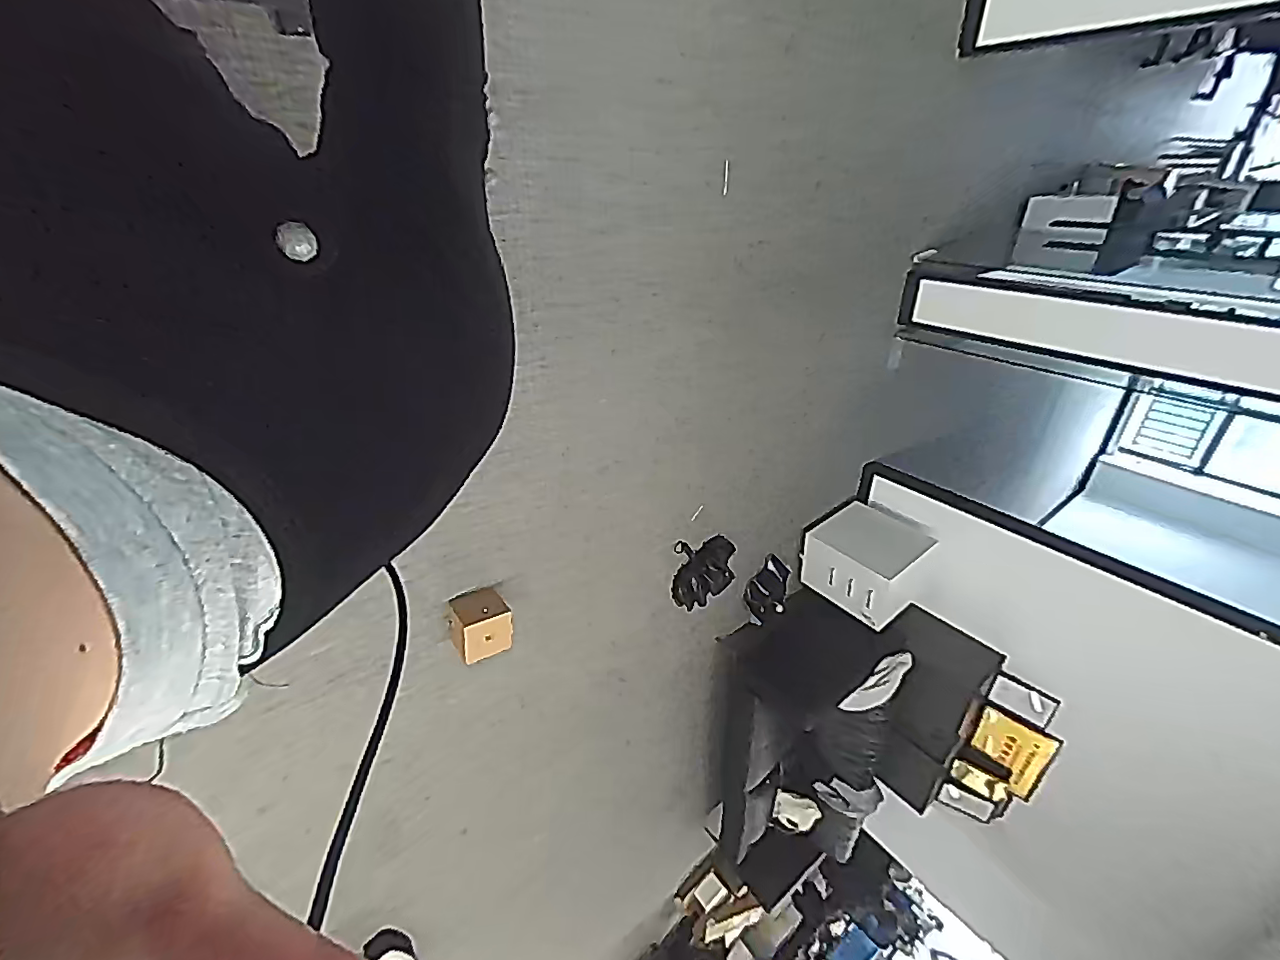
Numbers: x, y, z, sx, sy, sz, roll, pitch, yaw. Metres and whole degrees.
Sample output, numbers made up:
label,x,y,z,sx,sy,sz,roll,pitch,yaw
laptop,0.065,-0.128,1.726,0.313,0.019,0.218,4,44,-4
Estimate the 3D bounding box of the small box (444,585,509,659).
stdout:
label,x,y,z,sx,sy,sz,roll,pitch,yaw
small box,-0.588,0.501,1.941,0.179,0.176,0.168,-13,121,-36
